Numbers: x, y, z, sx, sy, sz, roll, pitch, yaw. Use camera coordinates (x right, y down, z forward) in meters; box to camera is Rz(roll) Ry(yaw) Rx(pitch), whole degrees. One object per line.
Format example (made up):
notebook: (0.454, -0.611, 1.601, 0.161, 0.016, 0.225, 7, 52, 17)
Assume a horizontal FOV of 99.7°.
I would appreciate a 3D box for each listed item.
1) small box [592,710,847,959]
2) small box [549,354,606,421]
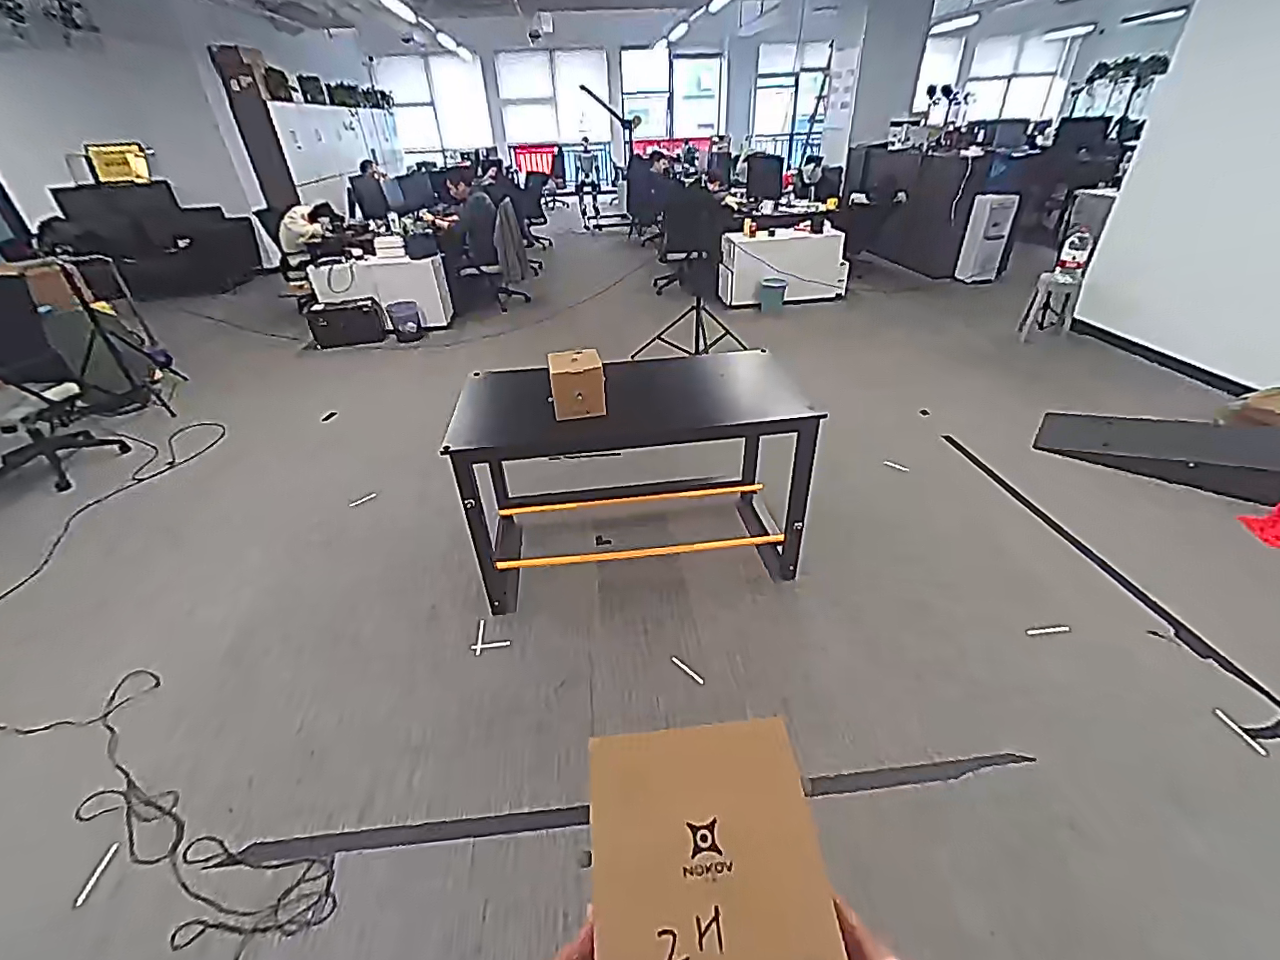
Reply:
small box: (0.050, 0.320, 0.457, 0.168, 0.176, 0.179, -6, 47, -2)
small box: (-0.209, -0.304, 1.804, 0.168, 0.176, 0.179, -9, 34, -8)
